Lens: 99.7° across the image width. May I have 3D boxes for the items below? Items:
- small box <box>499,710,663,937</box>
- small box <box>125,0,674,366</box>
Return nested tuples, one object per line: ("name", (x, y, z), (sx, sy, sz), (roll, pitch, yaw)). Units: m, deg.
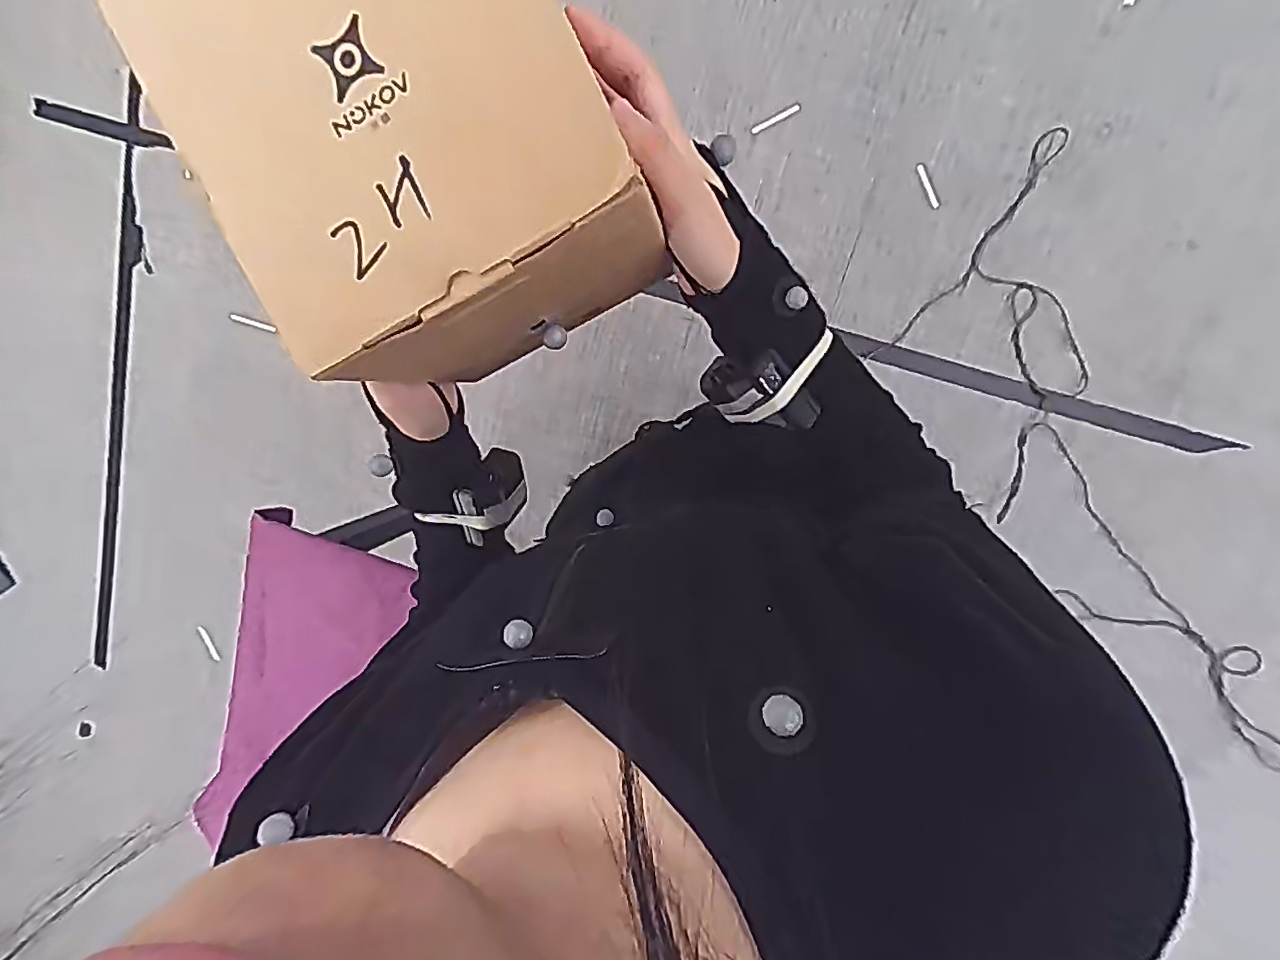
("small box", (-0.072, 0.467, 0.759), (0.168, 0.176, 0.179), (19, 102, 3))
("small box", (-0.092, -0.173, 0.286), (0.168, 0.176, 0.179), (-25, 96, 11))
